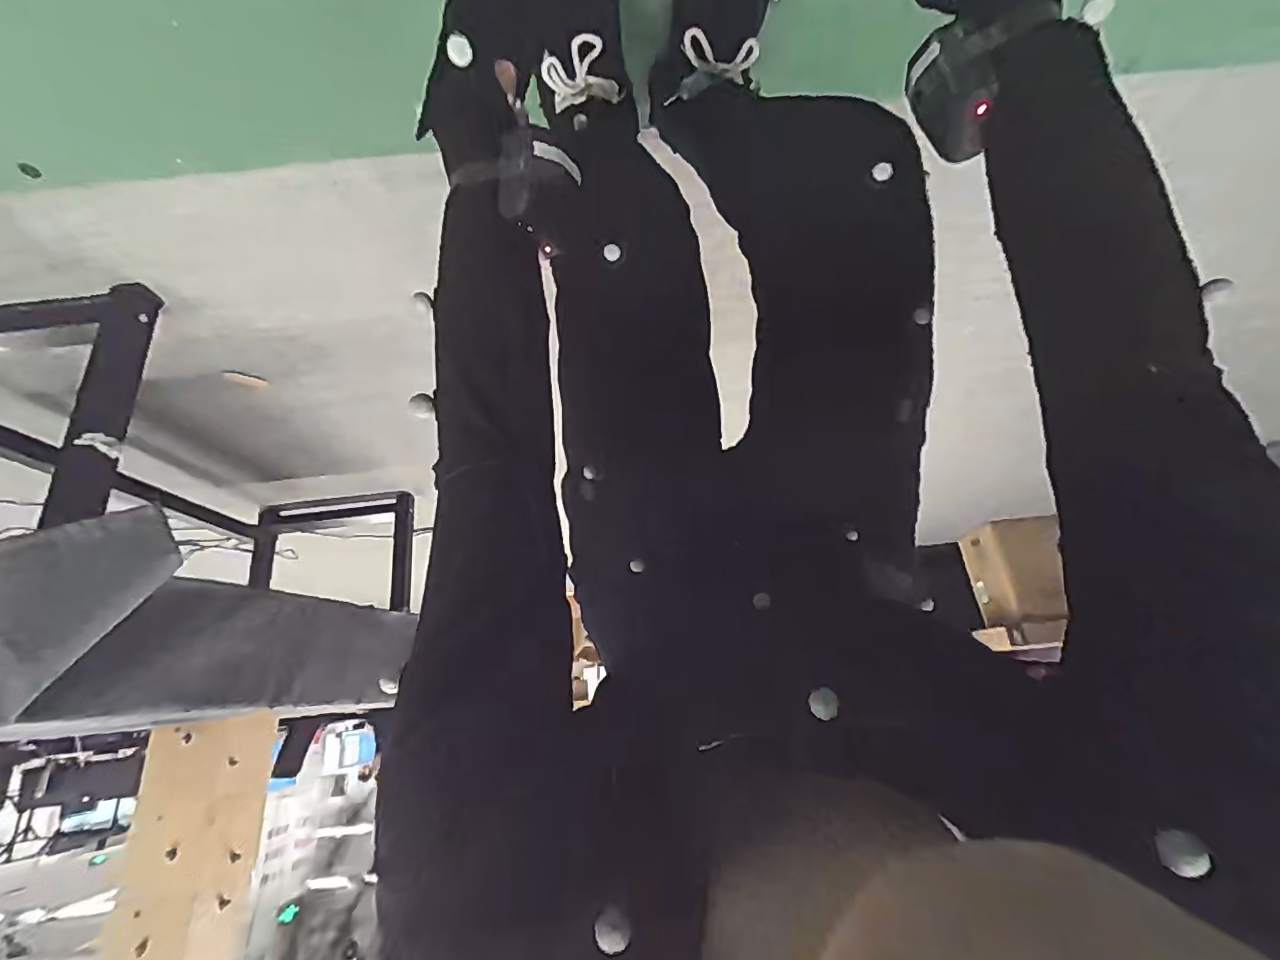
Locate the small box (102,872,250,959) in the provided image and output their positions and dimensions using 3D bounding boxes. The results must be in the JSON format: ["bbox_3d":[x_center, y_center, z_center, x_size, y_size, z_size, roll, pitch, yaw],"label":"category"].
[{"bbox_3d":[-0.940,0.920,1.097,0.168,0.176,0.179,-5,158,-1],"label":"small box"}]

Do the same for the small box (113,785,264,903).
[{"bbox_3d":[-0.949,0.767,1.156,0.168,0.176,0.179,-6,158,1],"label":"small box"}]
